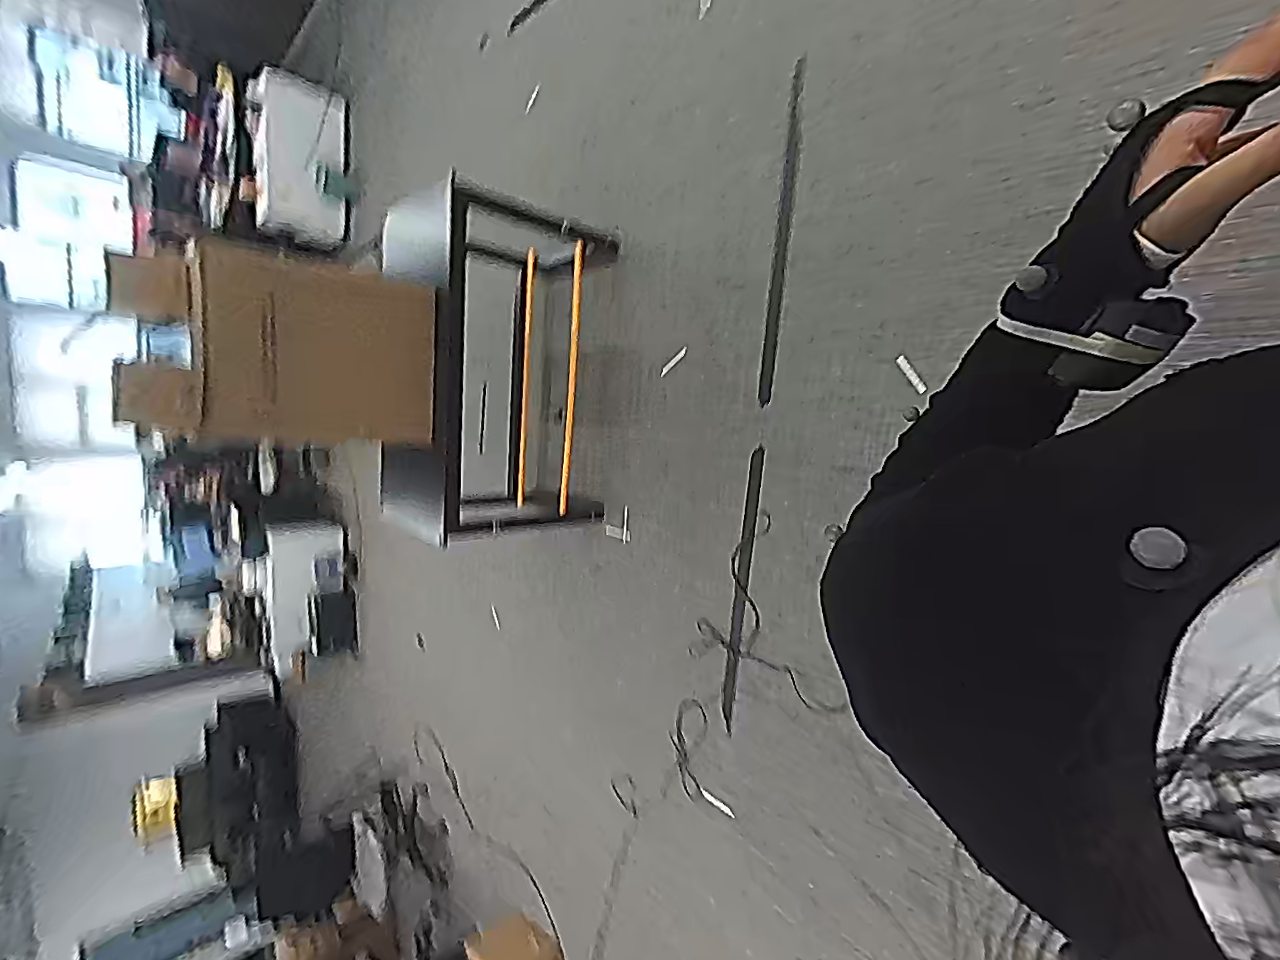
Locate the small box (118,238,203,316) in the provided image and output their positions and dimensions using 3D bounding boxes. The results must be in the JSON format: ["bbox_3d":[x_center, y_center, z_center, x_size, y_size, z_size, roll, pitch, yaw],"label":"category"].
[{"bbox_3d":[-1.343,-0.562,1.520,0.179,0.176,0.168,8,99,47],"label":"small box"}]
